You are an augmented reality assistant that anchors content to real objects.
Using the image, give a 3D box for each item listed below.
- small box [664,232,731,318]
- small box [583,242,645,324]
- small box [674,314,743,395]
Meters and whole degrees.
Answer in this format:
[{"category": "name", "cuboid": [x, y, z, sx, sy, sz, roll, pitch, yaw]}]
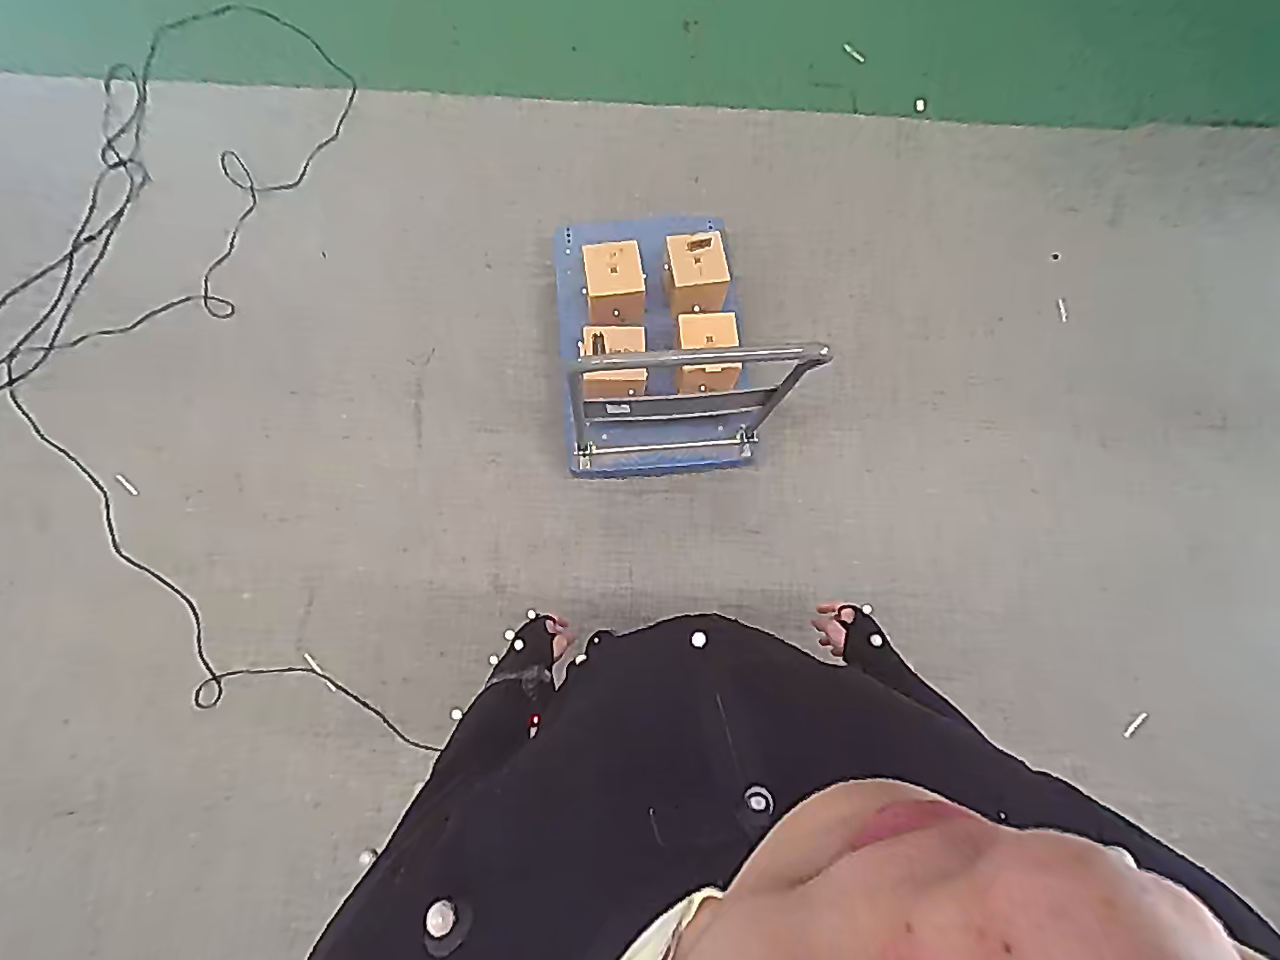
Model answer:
[{"category": "small box", "cuboid": [0.170, -0.626, 1.663, 0.168, 0.176, 0.179, -8, 76, -3]}, {"category": "small box", "cuboid": [-0.079, -0.590, 1.644, 0.168, 0.176, 0.179, -8, 75, -5]}, {"category": "small box", "cuboid": [0.195, -0.366, 1.594, 0.168, 0.176, 0.179, -3, 75, -3]}]
